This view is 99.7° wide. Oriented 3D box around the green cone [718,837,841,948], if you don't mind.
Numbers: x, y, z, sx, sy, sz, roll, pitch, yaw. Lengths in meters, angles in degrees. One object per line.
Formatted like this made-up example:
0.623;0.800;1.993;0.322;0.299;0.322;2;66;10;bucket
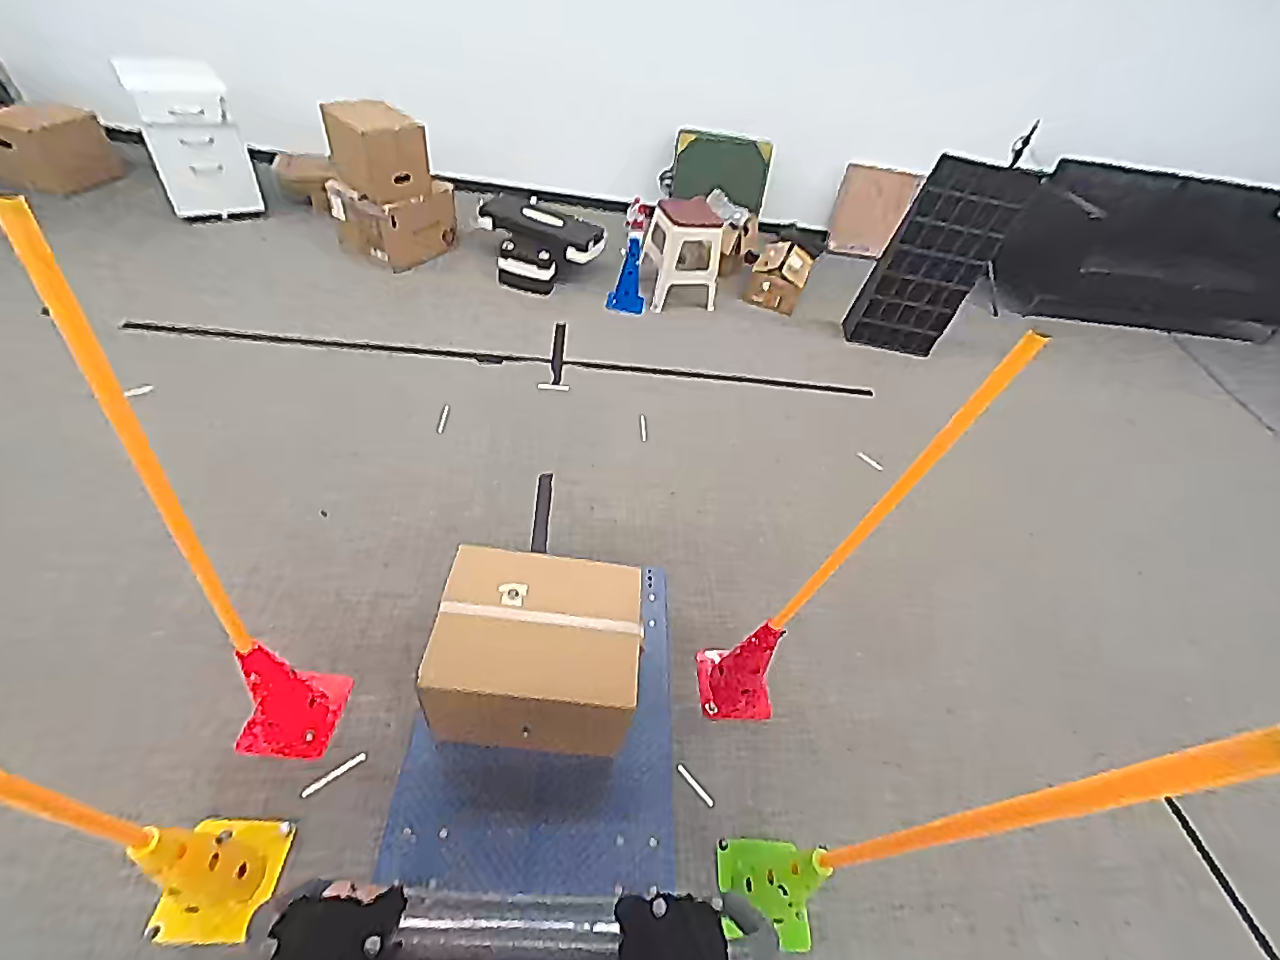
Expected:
0.310;0.814;1.107;0.202;0.368;0.200;7;45;-7;green cone

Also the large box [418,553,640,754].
-0.220;0.392;1.199;0.408;0.320;0.320;8;46;-4;large box

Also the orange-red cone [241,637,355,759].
-0.807;0.454;1.213;0.198;0.360;0.199;10;44;-4;orange-red cone

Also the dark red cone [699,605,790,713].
0.306;0.453;1.432;0.201;0.394;0.202;5;46;-10;dark red cone
